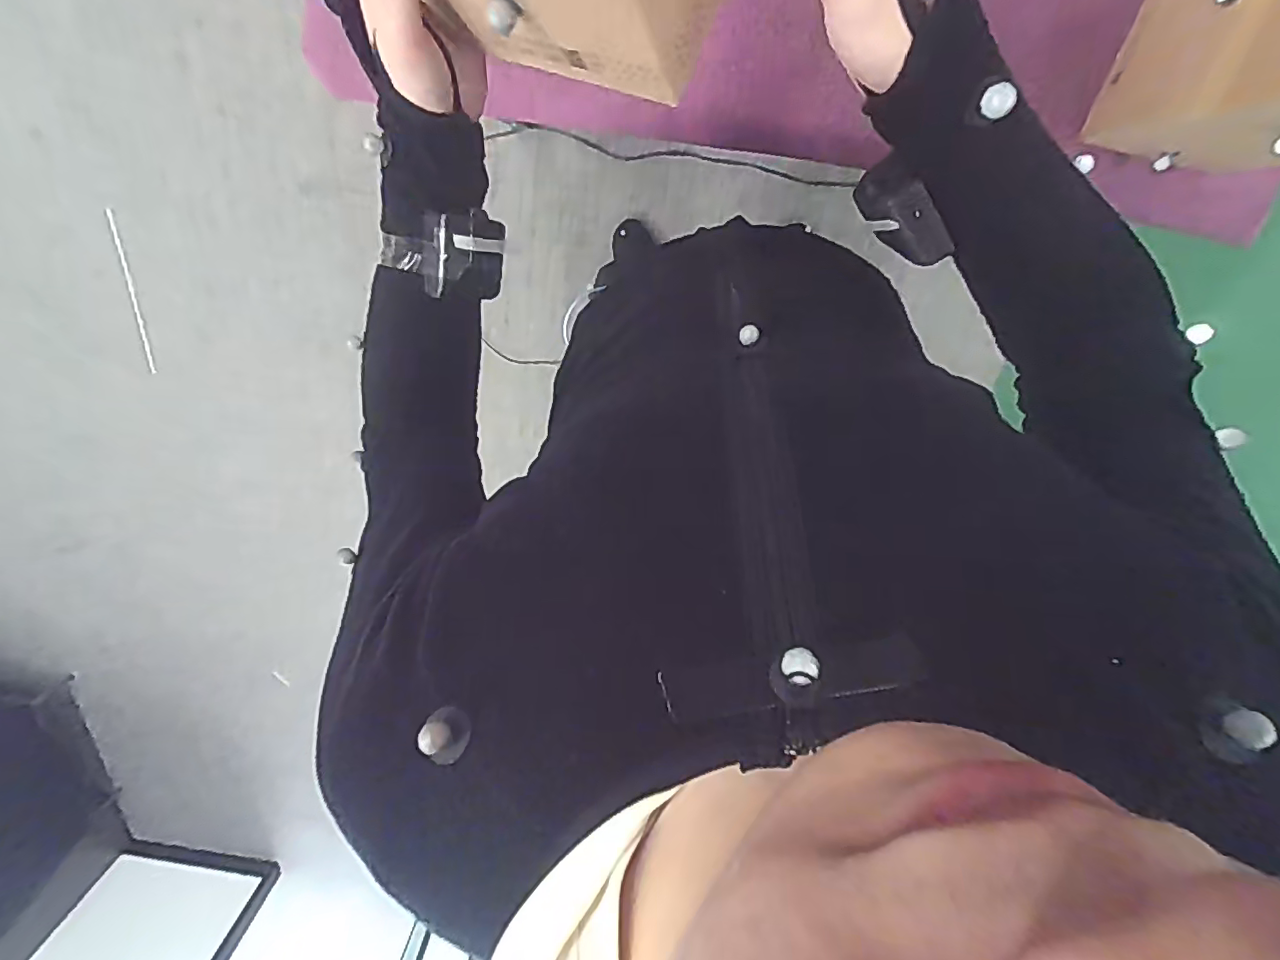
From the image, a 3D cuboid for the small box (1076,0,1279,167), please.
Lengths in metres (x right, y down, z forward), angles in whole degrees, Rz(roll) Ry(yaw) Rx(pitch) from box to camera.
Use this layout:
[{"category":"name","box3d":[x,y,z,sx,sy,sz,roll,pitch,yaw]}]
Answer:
[{"category":"small box","box3d":[0.628,-0.439,0.564,0.179,0.176,0.168,13,115,-1]}]

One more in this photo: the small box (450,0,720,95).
[{"category":"small box","box3d":[-0.035,-0.325,0.237,0.168,0.176,0.179,26,99,15]}]
